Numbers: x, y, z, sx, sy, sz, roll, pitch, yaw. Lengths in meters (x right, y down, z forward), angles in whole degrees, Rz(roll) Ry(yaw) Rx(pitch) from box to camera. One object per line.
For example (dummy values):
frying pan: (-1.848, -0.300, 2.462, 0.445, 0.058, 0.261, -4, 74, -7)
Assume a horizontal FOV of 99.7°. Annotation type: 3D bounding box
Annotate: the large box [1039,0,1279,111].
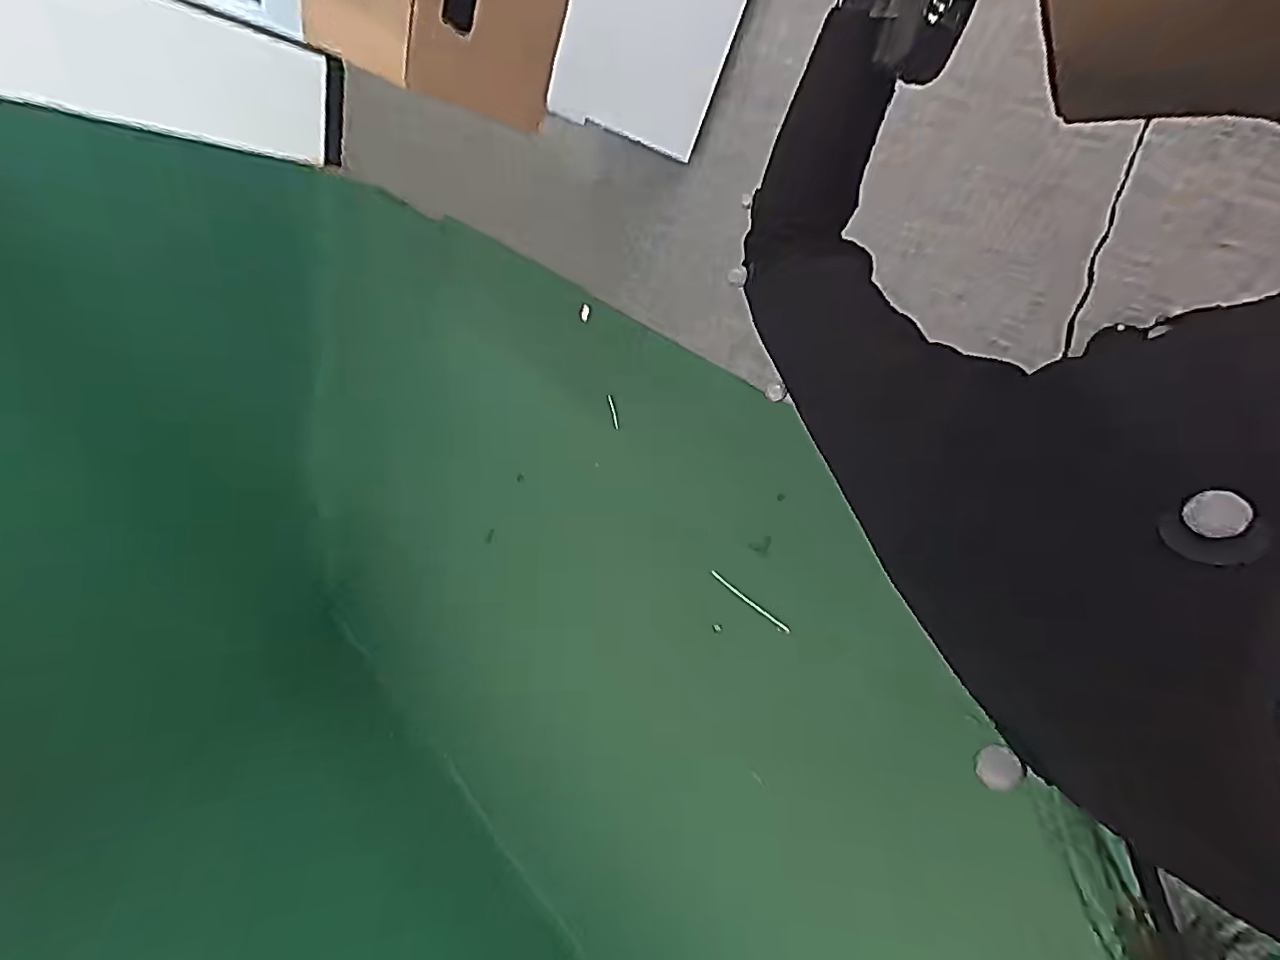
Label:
large box: (0.460, -0.395, 0.224, 0.408, 0.320, 0.320, 21, 113, 36)
